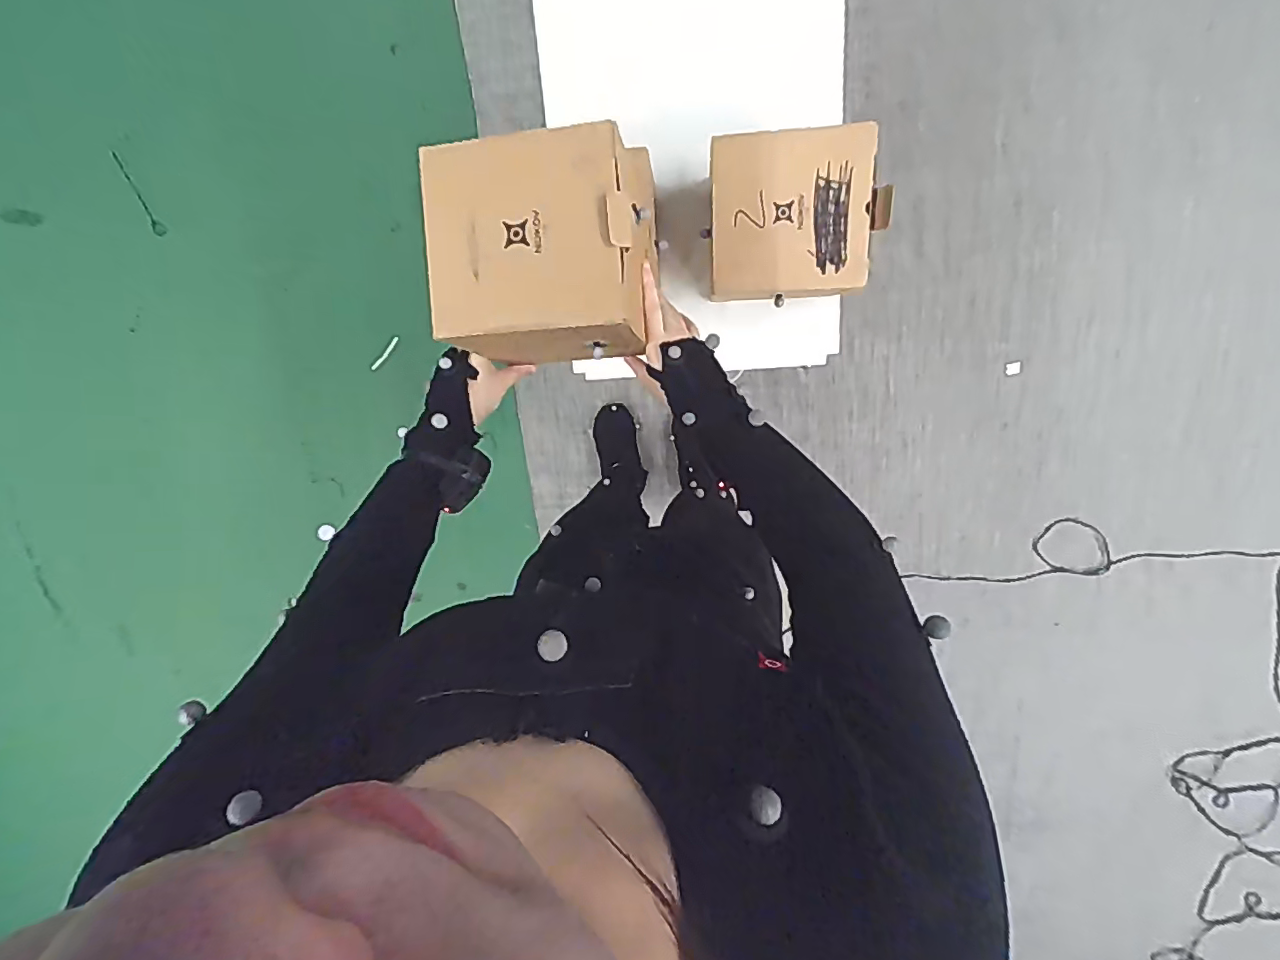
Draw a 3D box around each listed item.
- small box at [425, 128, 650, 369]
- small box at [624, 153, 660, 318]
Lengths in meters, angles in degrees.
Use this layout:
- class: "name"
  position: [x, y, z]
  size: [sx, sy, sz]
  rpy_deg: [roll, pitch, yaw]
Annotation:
- class: "small box"
  position: [-0.085, -0.209, 0.538]
  size: [0.179, 0.176, 0.168]
  rpy_deg: [-3, 92, 10]
- class: "small box"
  position: [-0.061, -0.295, 0.699]
  size: [0.168, 0.176, 0.179]
  rpy_deg: [-3, 105, 5]
